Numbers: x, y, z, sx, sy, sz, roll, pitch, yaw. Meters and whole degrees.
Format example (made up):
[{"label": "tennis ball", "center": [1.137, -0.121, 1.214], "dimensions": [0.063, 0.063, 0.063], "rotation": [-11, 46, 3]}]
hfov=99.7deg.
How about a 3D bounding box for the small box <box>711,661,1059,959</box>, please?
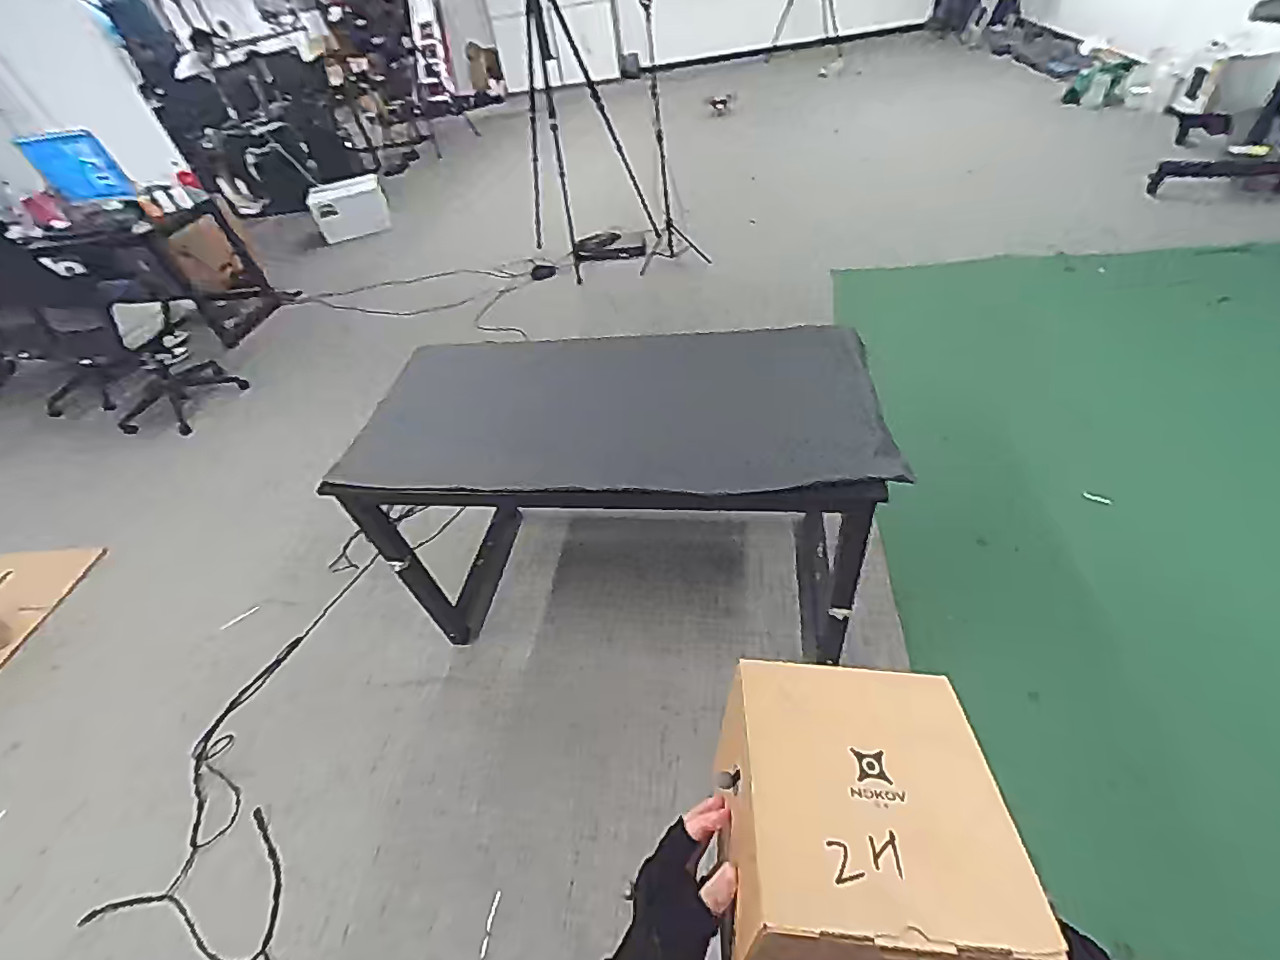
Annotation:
[{"label": "small box", "center": [0.146, 0.266, 0.406], "dimensions": [0.168, 0.176, 0.179], "rotation": [4, 36, 2]}]
